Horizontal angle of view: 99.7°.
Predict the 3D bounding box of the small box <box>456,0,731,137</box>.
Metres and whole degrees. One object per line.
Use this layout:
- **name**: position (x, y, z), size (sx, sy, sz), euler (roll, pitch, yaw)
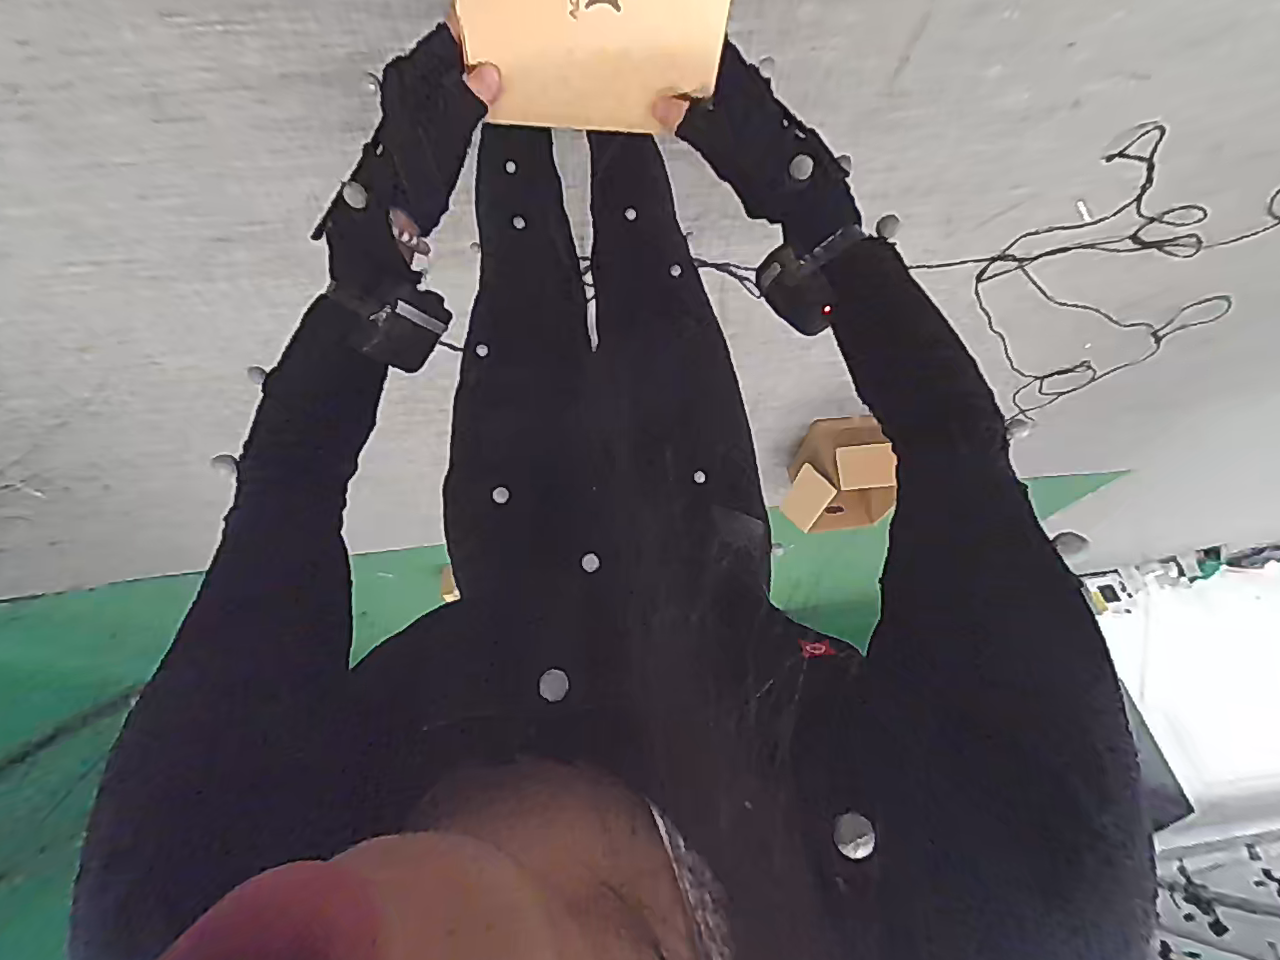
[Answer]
- **small box**: position (-0.035, -0.372, 0.377), size (0.179, 0.176, 0.168), euler (-1, 147, -9)
